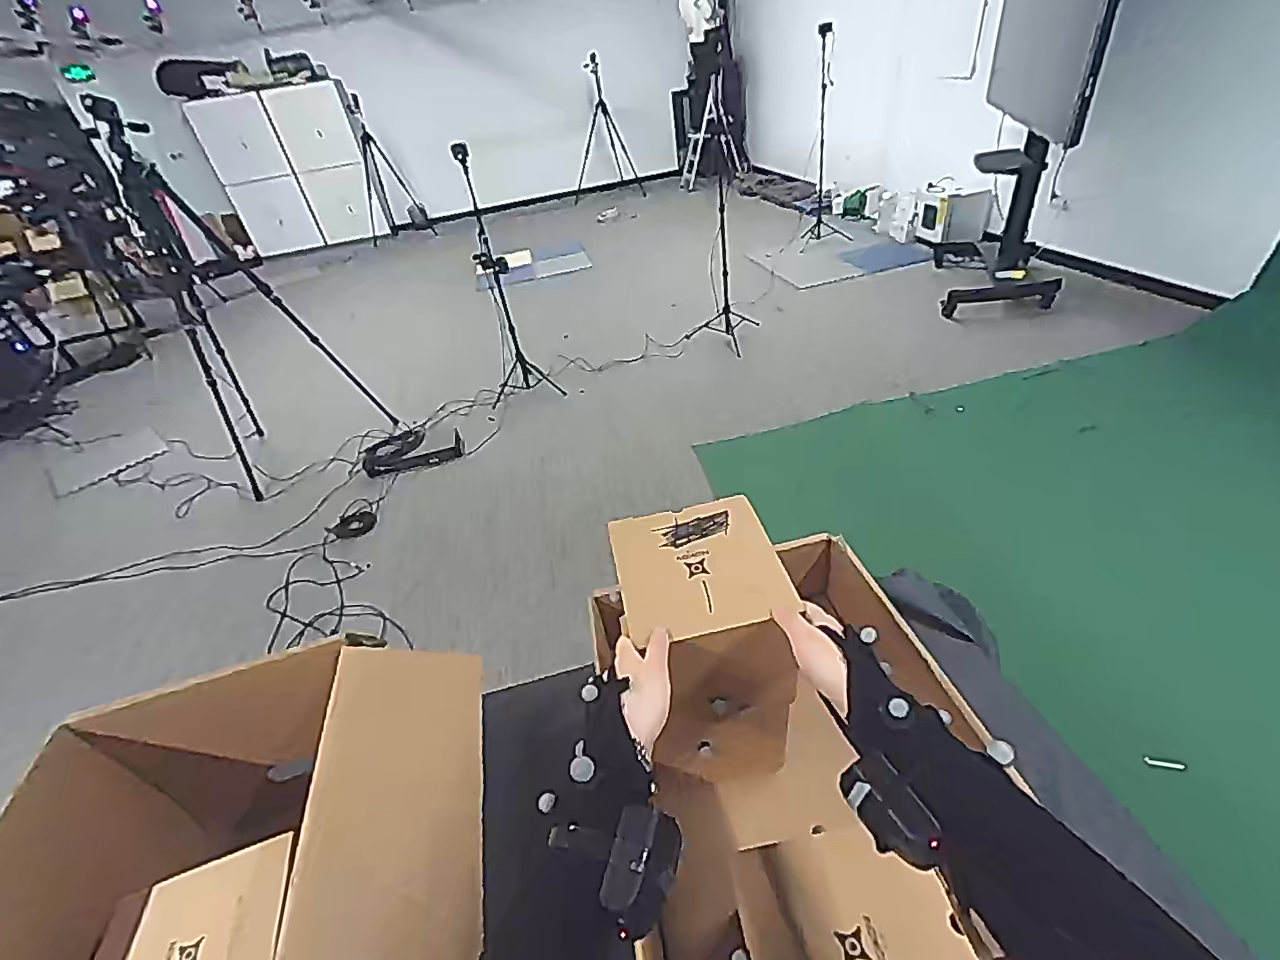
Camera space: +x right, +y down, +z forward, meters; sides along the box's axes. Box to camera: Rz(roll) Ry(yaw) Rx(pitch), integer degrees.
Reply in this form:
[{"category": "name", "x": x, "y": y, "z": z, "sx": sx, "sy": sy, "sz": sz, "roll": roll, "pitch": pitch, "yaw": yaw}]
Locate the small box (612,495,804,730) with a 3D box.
[{"category": "small box", "x": 0.068, "y": 0.146, "z": 0.610, "sx": 0.168, "sy": 0.176, "sz": 0.179, "roll": -12, "pitch": 40, "yaw": -3}]
